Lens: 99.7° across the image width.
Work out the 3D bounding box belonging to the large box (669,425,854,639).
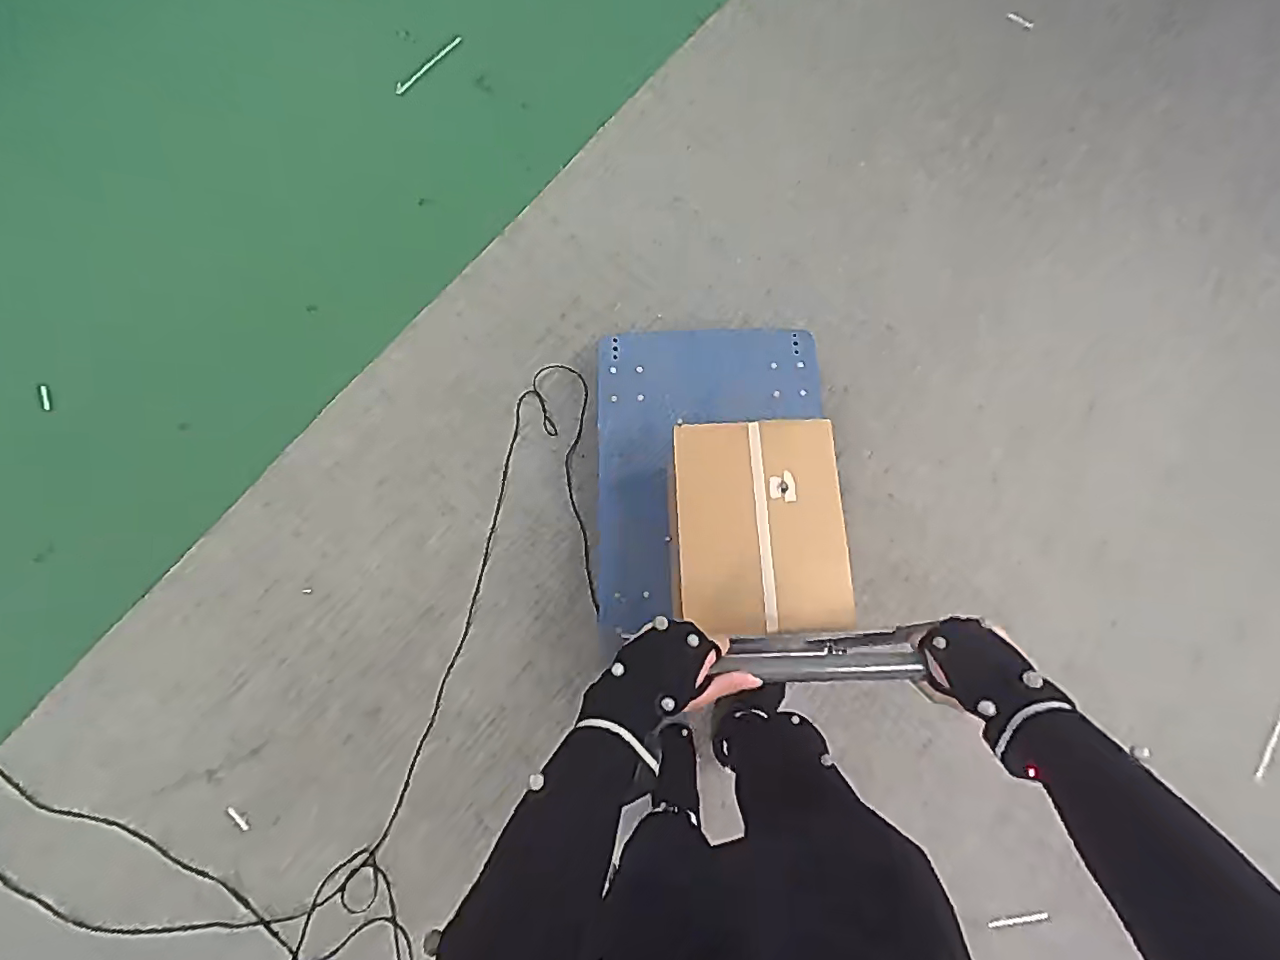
[{"bbox_3d":[0.231,0.128,1.177,0.320,0.320,0.408,-2,75,-1],"label":"large box"}]
